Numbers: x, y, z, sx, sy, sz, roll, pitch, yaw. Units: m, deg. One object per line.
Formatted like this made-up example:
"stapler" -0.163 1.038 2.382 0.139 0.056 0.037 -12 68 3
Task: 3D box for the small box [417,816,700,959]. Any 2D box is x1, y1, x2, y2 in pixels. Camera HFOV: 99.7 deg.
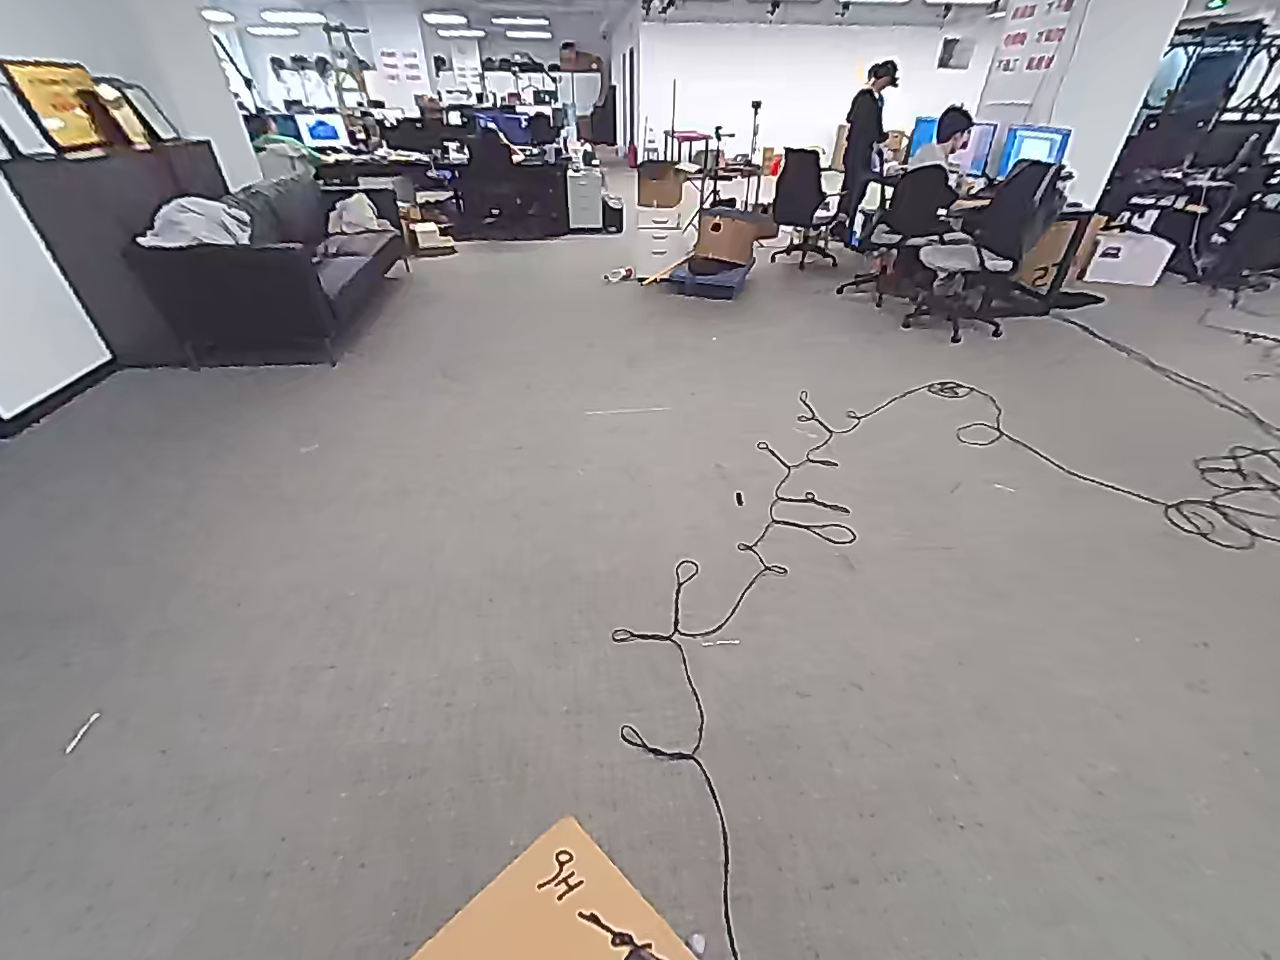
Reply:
"small box" -0.041 0.347 0.292 0.179 0.176 0.168 -31 35 -35
